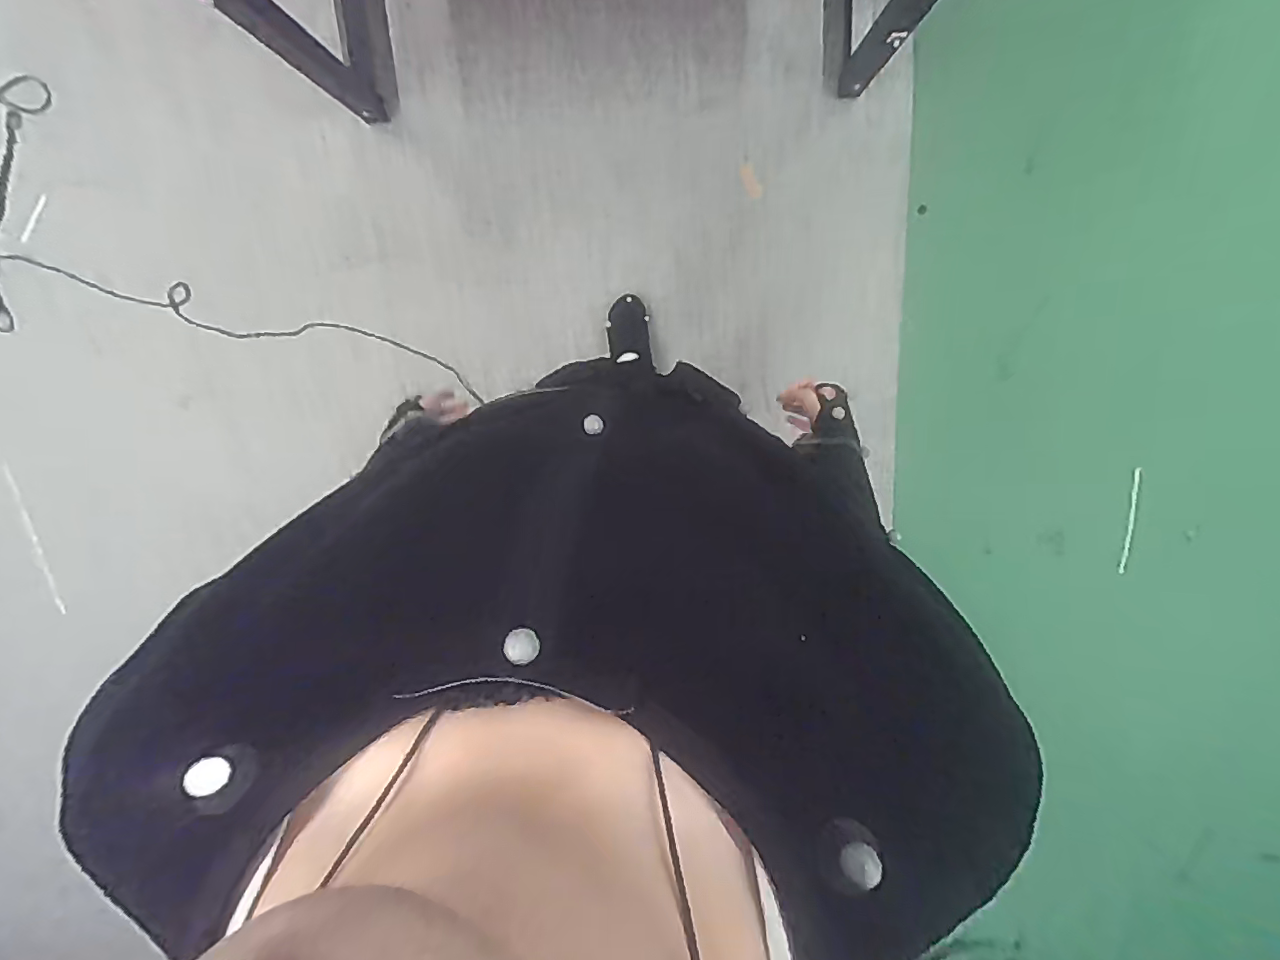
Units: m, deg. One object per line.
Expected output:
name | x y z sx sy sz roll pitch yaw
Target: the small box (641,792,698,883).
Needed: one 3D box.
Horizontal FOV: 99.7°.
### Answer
small box | 0.088 1.109 1.688 0.168 0.176 0.179 2 104 2
